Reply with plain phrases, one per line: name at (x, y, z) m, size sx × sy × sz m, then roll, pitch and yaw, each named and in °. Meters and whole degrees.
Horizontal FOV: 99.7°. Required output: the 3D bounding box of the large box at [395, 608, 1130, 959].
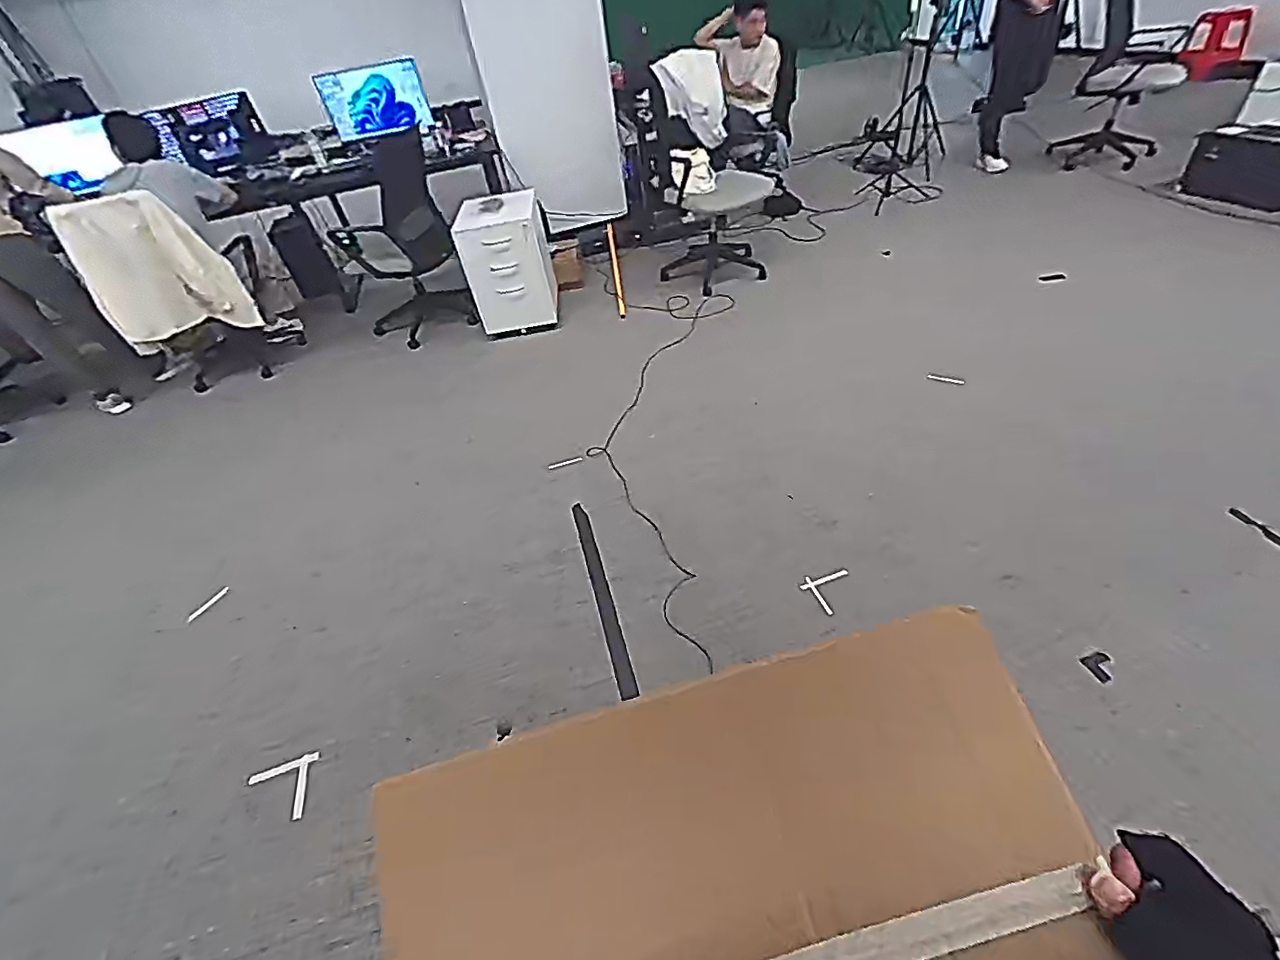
large box at (0.079, 0.334, 0.446) m, size 0.408 × 0.320 × 0.320 m, roll -17°, pitch 69°, yaw -1°
